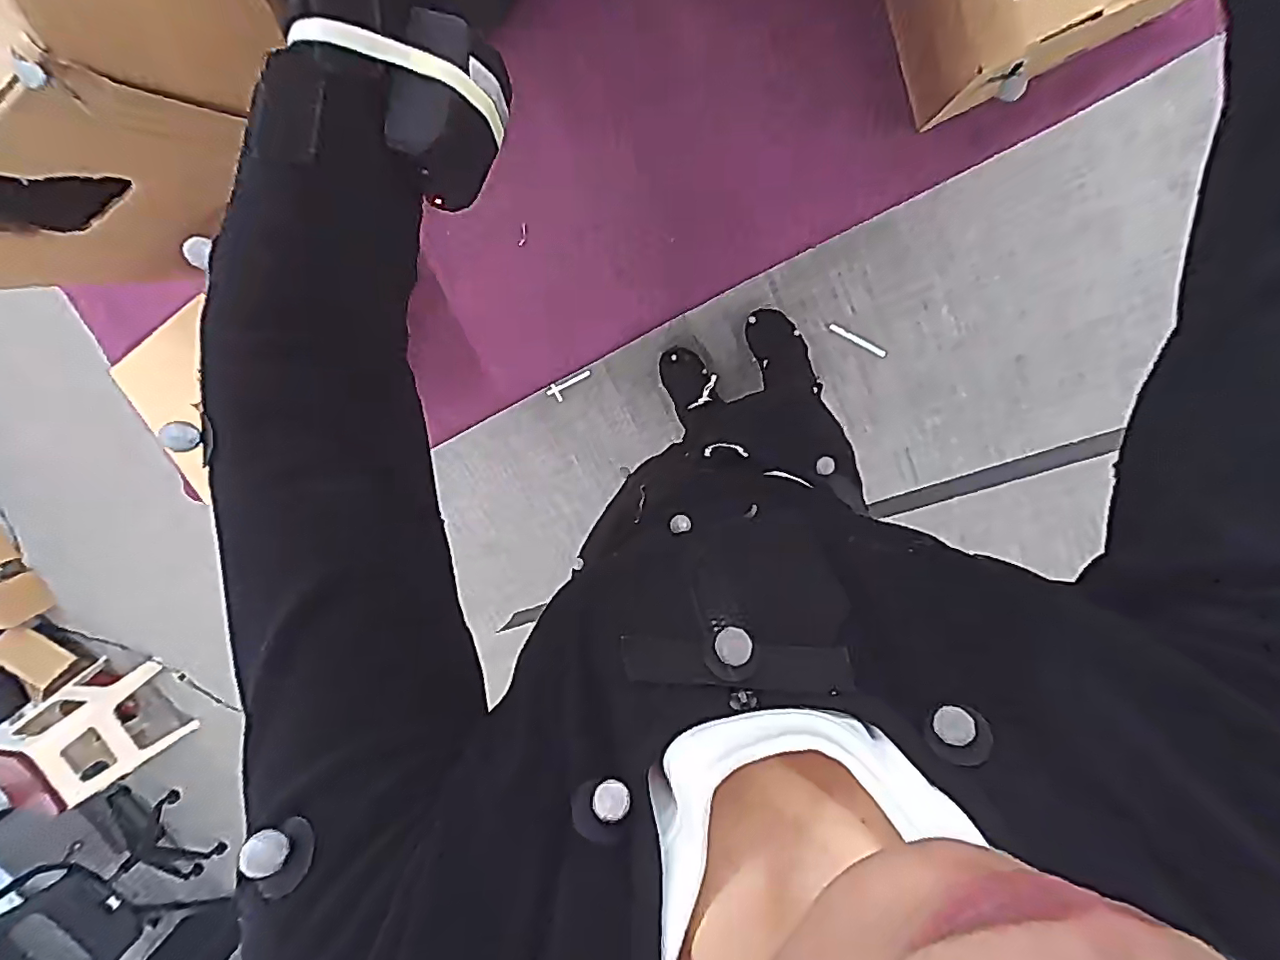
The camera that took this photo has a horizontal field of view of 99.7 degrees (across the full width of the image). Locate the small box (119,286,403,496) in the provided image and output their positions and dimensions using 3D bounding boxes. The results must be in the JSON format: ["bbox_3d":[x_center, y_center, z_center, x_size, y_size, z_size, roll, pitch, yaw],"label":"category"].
[{"bbox_3d":[-0.419,-0.107,0.625,0.179,0.176,0.168,-23,103,21],"label":"small box"}]

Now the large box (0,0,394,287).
[{"bbox_3d":[-0.504,-0.420,0.440,0.320,0.320,0.408,-20,108,22],"label":"large box"}]
